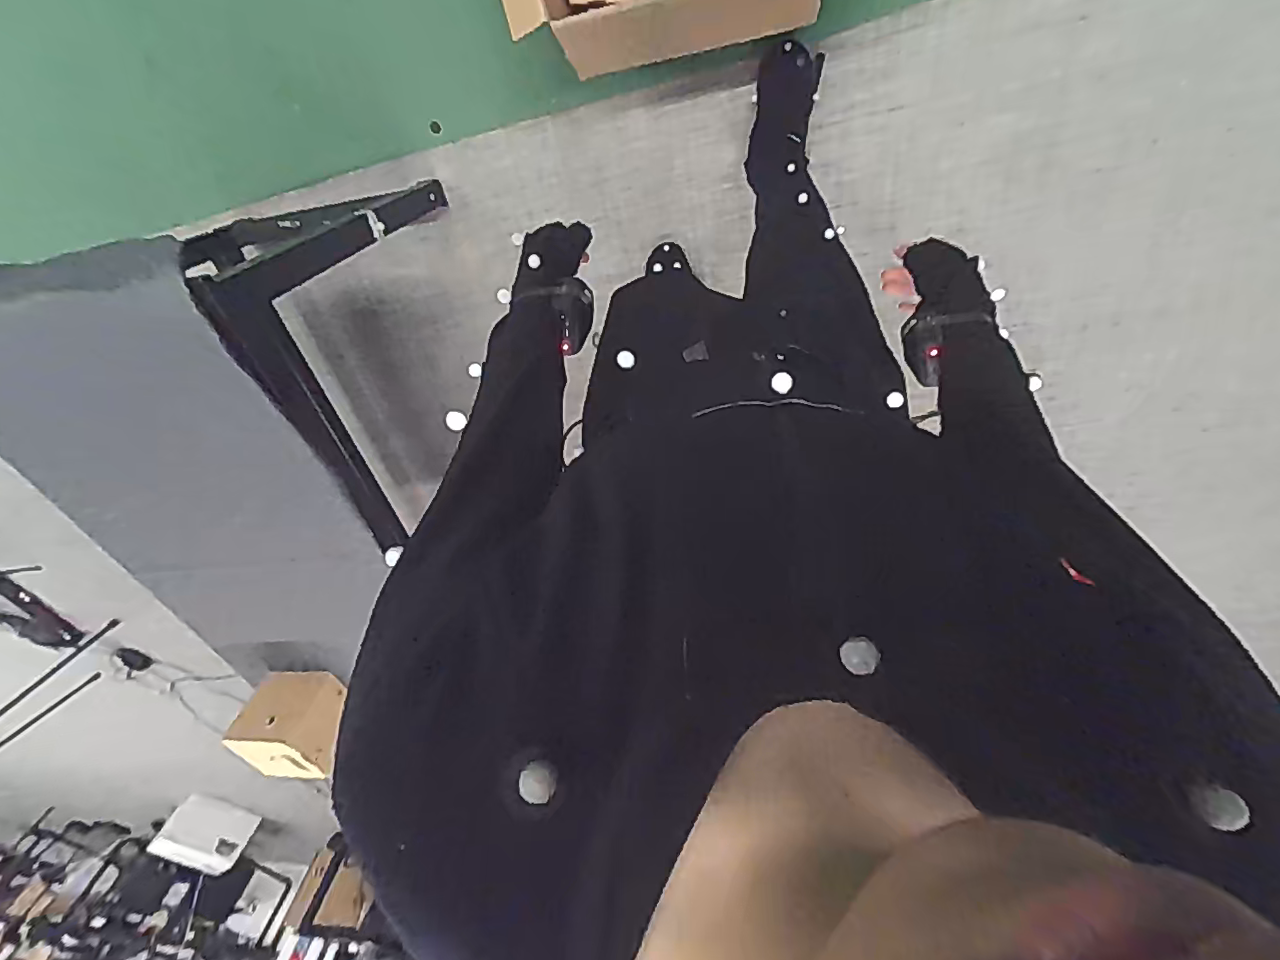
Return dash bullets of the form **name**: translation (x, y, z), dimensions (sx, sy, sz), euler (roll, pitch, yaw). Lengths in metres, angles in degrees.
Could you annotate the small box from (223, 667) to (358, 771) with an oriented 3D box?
- **small box**: translation (-0.789, 0.548, 1.250), dimensions (0.179, 0.176, 0.168), euler (-4, 128, 13)
